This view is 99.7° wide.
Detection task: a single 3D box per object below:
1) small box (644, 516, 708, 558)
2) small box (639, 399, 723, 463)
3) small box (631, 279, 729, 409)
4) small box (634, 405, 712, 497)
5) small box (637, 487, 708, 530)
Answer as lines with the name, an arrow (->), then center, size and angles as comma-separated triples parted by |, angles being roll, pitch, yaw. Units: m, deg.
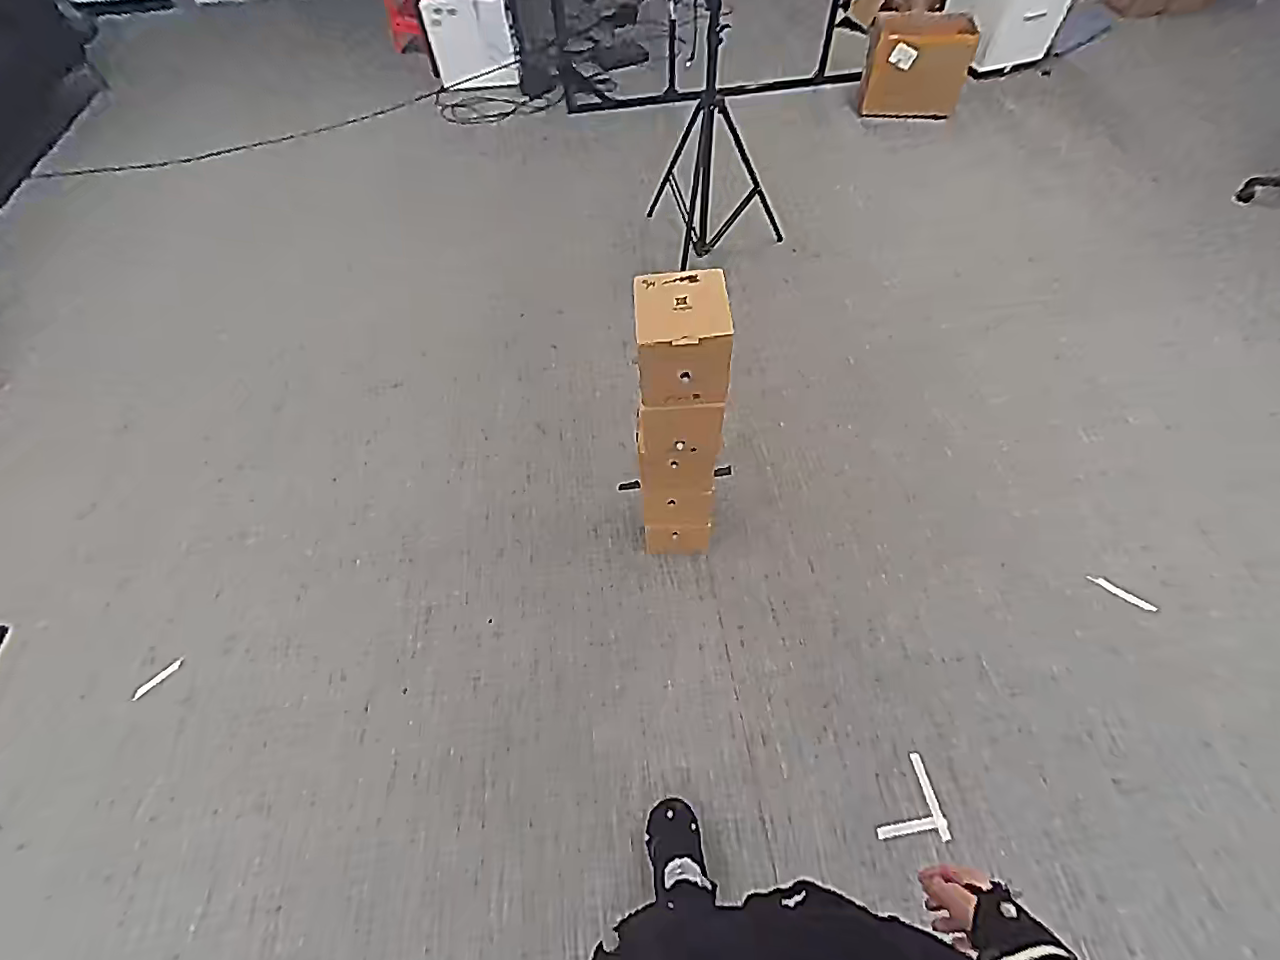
small box -> 0.101, 0.119, 1.560 | 0.179, 0.176, 0.168 | -2, 58, 3
small box -> 0.084, -0.153, 1.153 | 0.168, 0.176, 0.179 | -2, 59, 4
small box -> 0.074, -0.247, 1.018 | 0.168, 0.176, 0.179 | -4, 59, 2
small box -> 0.080, -0.068, 1.294 | 0.179, 0.176, 0.168 | -1, 59, 2
small box -> 0.090, 0.024, 1.426 | 0.179, 0.176, 0.168 | 1, 59, 4
